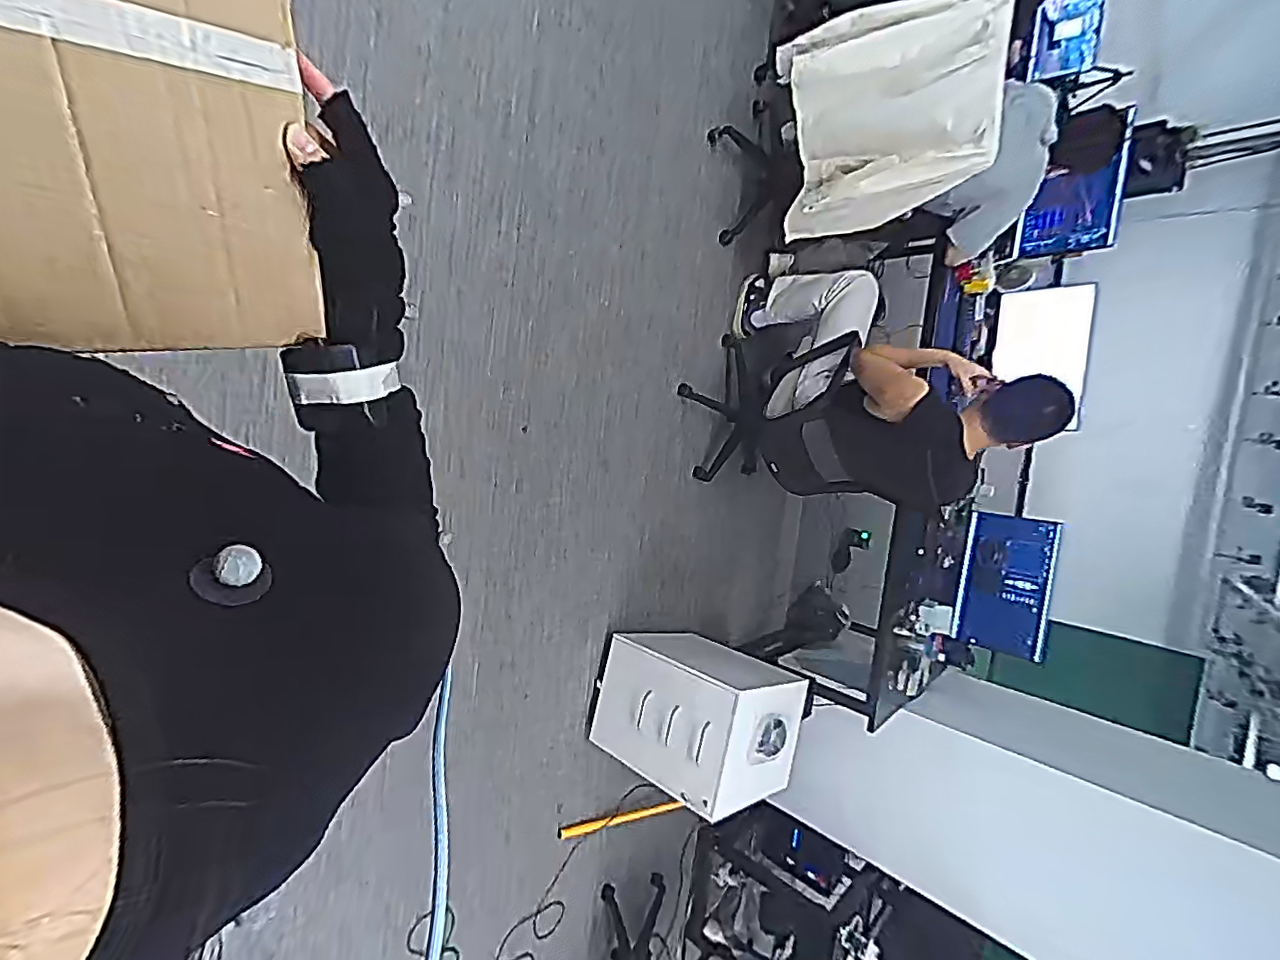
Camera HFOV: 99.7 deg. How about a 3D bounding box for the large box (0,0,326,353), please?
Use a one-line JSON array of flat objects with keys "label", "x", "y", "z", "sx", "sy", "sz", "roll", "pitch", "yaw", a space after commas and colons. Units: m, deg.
[{"label": "large box", "x": -0.451, "y": -0.259, "z": 0.292, "sx": 0.408, "sy": 0.320, "sz": 0.320, "roll": -15, "pitch": 127, "yaw": -39}]
